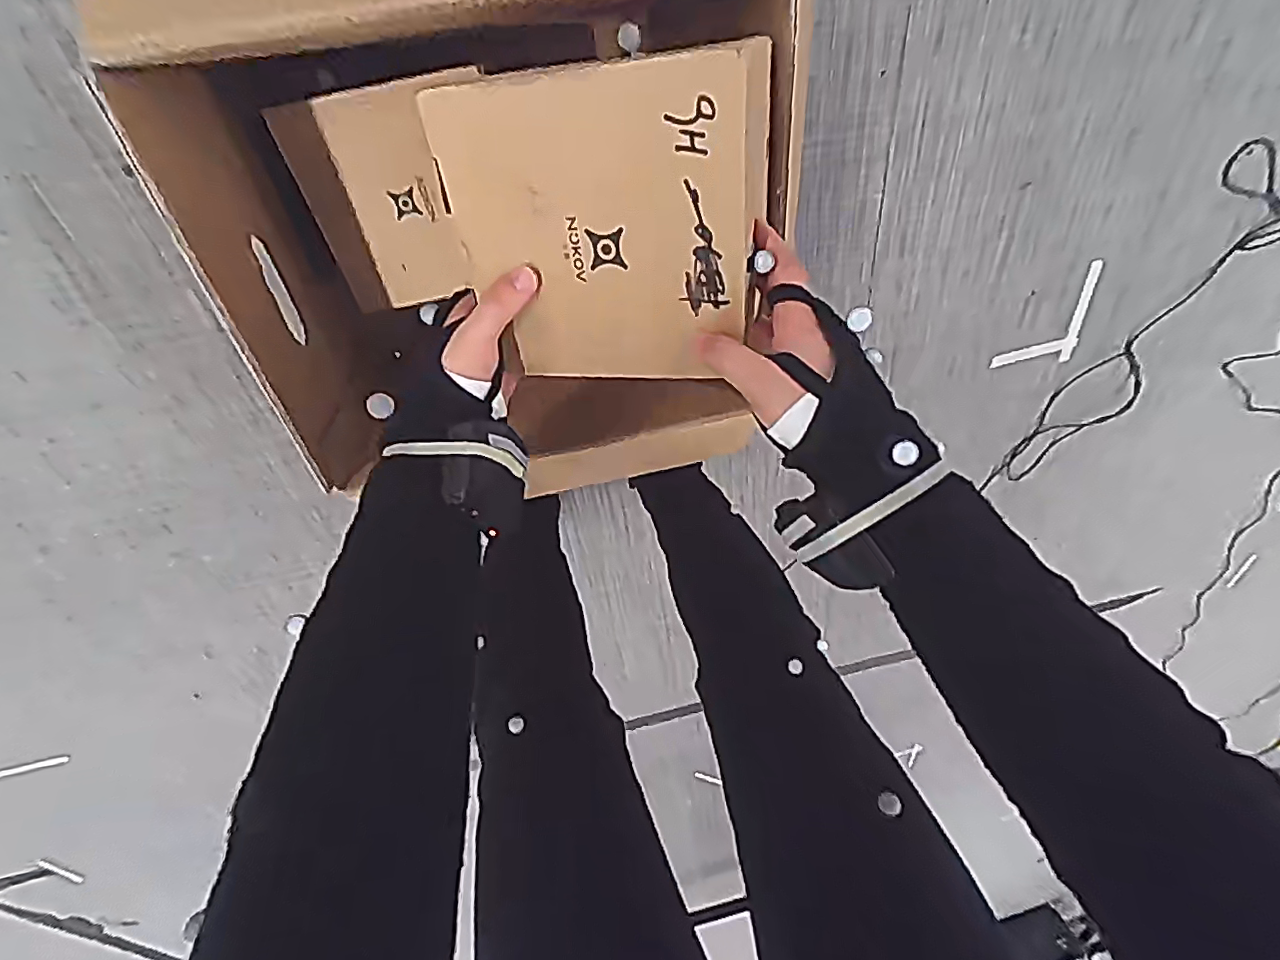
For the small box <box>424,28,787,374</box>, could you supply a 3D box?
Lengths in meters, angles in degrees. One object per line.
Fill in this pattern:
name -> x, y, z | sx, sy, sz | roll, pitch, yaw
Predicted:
small box -> -0.002, -0.187, 0.364 | 0.179, 0.176, 0.168 | 6, 130, 15
